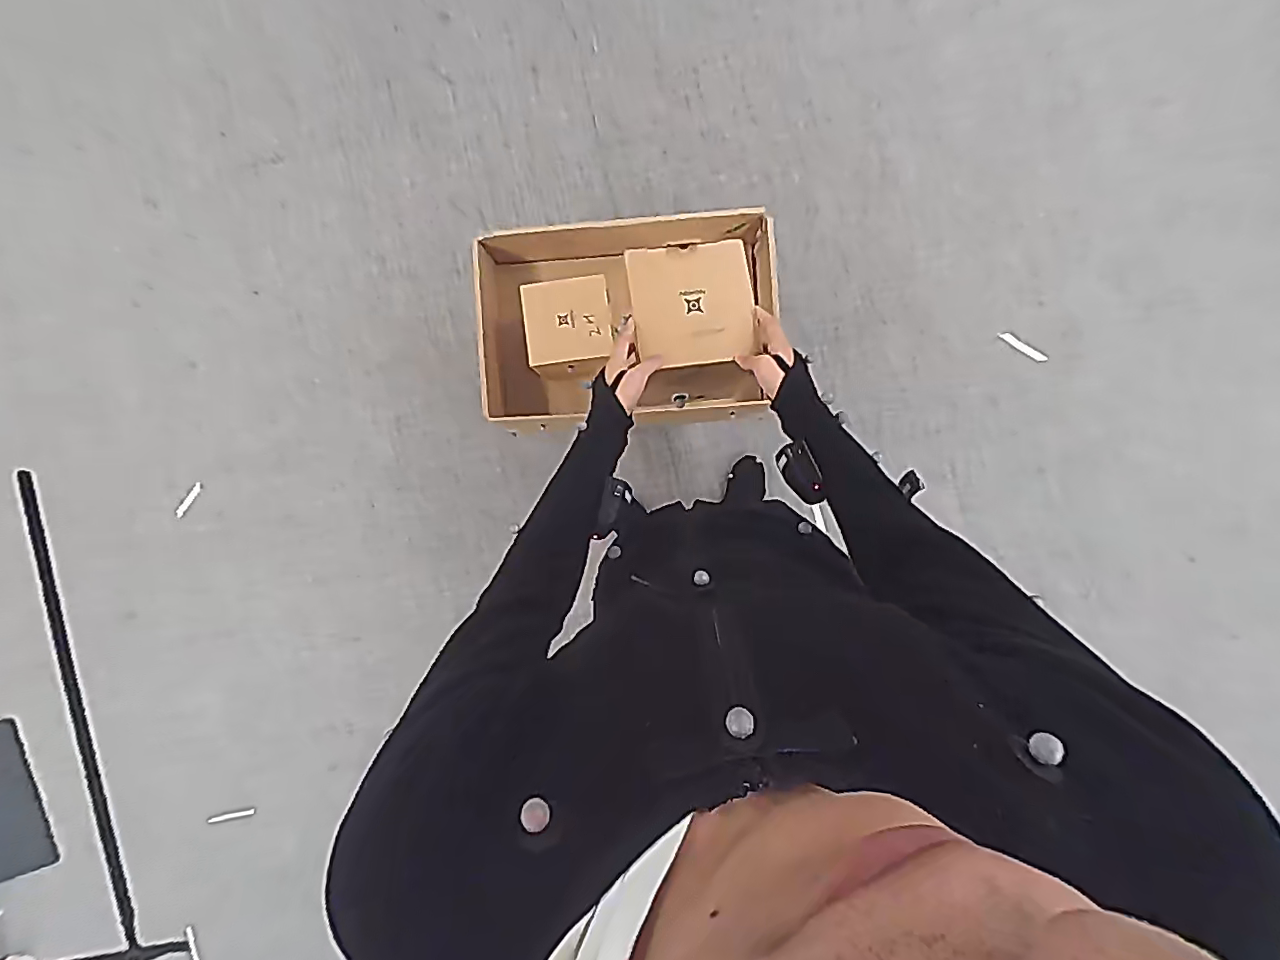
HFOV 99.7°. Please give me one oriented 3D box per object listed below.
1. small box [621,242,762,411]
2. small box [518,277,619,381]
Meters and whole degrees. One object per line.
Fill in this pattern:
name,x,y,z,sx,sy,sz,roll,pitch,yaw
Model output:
small box,0.063,-0.217,0.794,0.168,0.176,0.179,-8,80,-4
small box,-0.146,-0.315,1.156,0.179,0.176,0.168,-7,90,2
